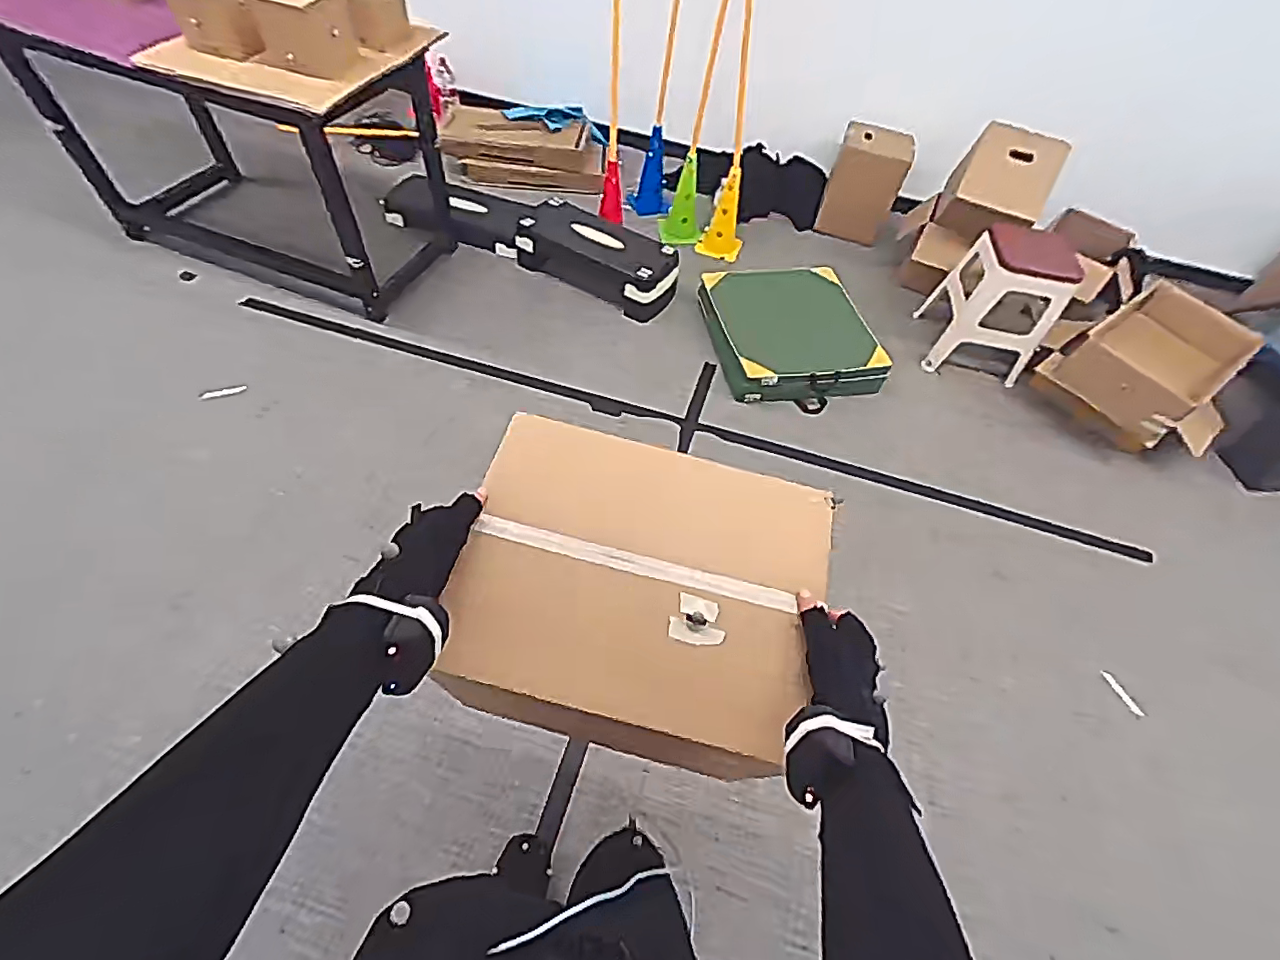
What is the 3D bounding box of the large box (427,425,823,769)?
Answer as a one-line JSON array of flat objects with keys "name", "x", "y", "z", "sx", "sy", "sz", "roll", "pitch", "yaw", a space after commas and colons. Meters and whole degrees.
[{"name": "large box", "x": -0.011, "y": 0.176, "z": 0.740, "sx": 0.408, "sy": 0.320, "sz": 0.320, "roll": 15, "pitch": 60, "yaw": 1}]
